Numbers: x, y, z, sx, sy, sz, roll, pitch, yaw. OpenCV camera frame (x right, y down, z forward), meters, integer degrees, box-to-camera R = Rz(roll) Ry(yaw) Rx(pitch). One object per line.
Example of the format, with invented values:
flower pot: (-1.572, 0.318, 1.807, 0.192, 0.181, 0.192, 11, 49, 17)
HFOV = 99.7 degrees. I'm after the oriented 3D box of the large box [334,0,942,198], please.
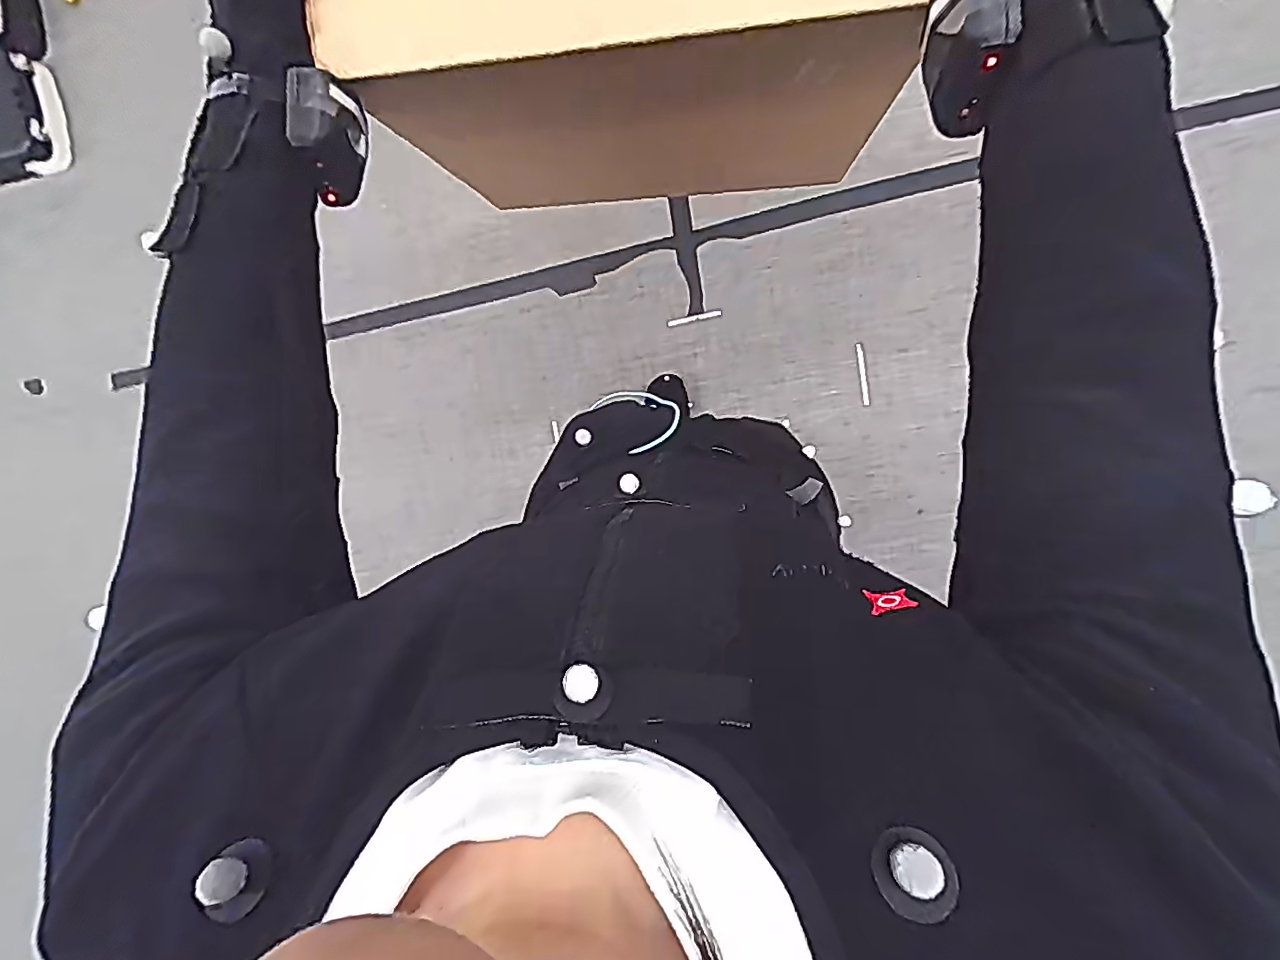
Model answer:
large box: (0.003, -0.465, 0.458, 0.408, 0.320, 0.320, -1, 102, 7)
